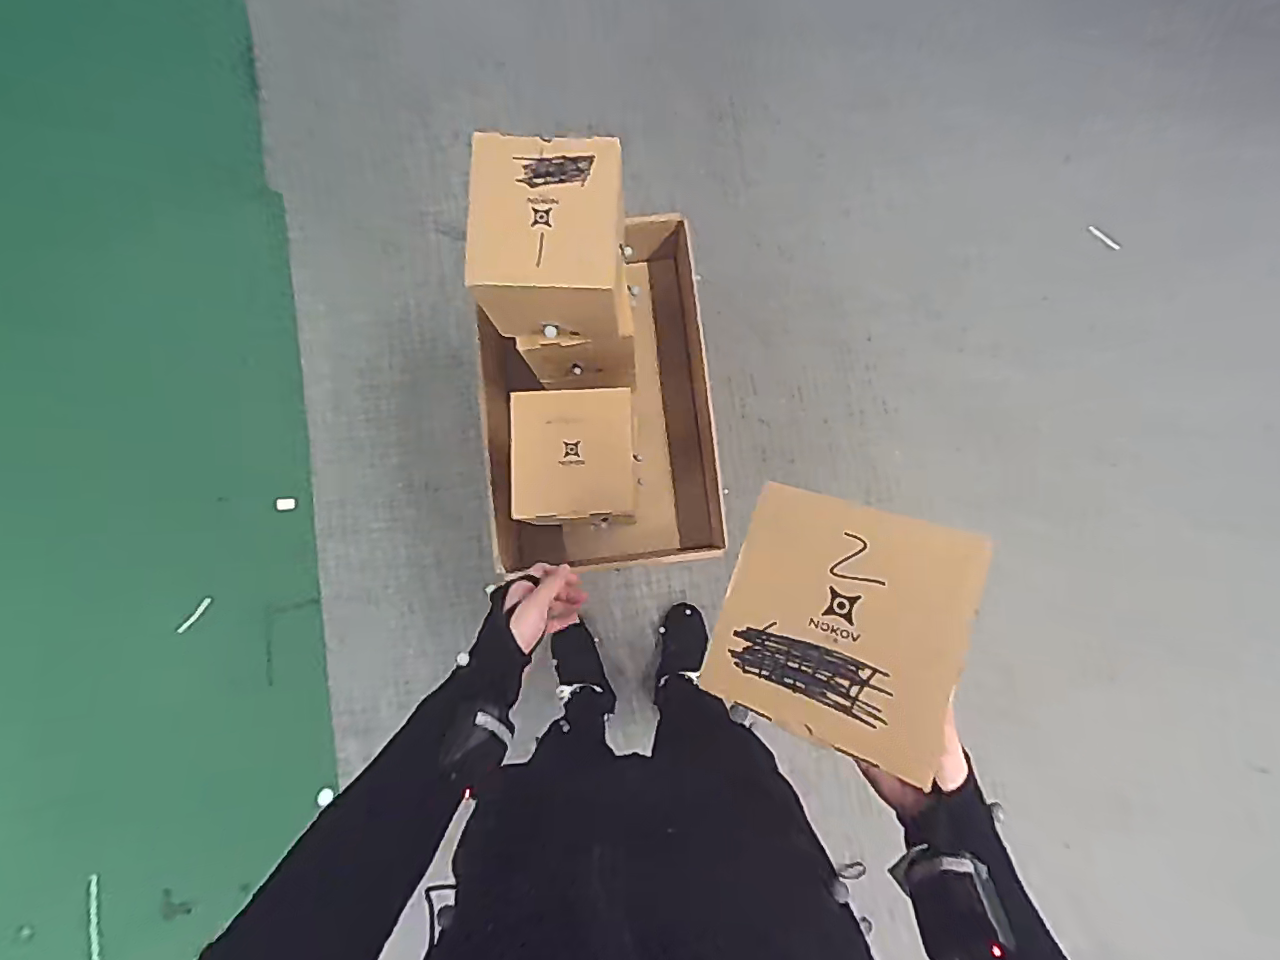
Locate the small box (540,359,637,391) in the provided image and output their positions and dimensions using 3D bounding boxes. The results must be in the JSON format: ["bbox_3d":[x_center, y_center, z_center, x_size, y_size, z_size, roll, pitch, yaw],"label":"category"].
[{"bbox_3d":[-0.097,-0.260,1.002,0.168,0.176,0.179,-7,85,1],"label":"small box"}]

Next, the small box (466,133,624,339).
[{"bbox_3d":[-0.107,-0.293,0.678,0.168,0.176,0.179,2,86,1],"label":"small box"}]

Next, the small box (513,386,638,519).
[{"bbox_3d":[-0.089,-0.032,0.810,0.168,0.176,0.179,-2,82,0],"label":"small box"}]

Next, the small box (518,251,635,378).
[{"bbox_3d":[-0.099,-0.273,0.841,0.168,0.176,0.179,-8,85,0],"label":"small box"}]
